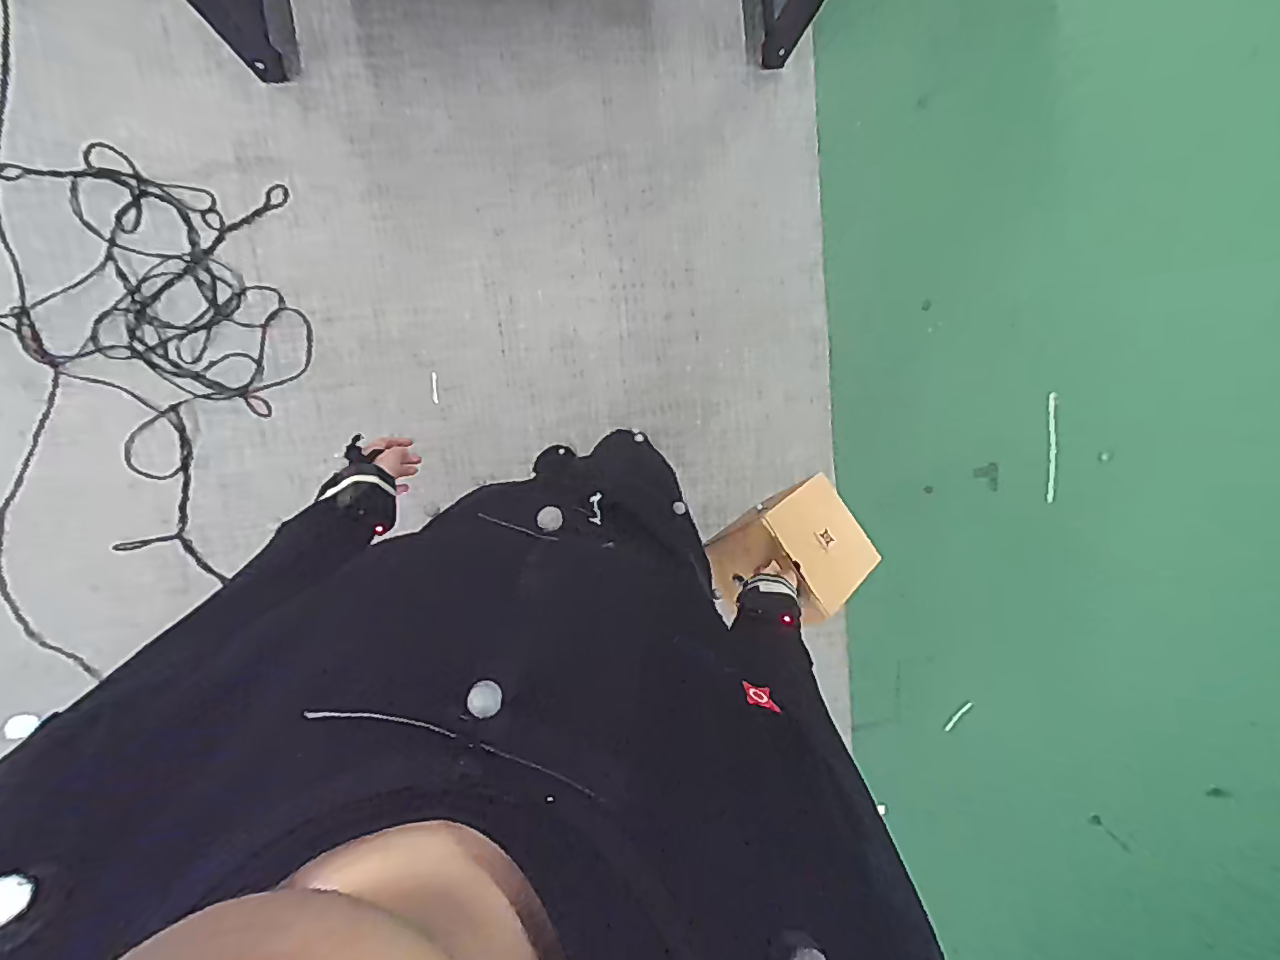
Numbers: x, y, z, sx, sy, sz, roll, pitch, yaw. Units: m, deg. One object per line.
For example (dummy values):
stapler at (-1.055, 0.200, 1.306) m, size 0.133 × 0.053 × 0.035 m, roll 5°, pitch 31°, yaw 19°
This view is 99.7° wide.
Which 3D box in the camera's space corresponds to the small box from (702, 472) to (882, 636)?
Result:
small box at (0.231, 0.117, 0.842) m, size 0.179 × 0.176 × 0.168 m, roll -29°, pitch 83°, yaw -39°
